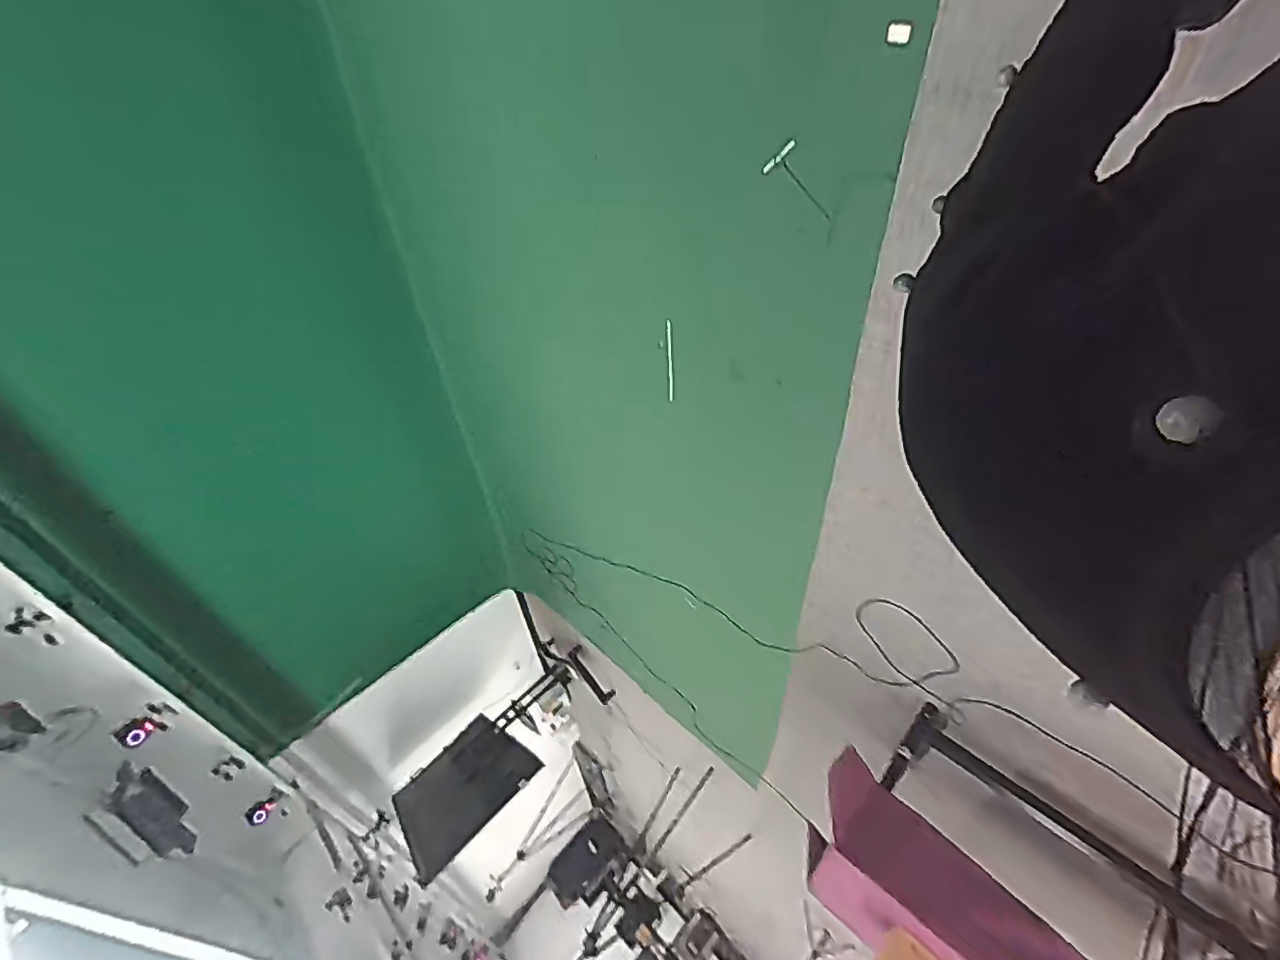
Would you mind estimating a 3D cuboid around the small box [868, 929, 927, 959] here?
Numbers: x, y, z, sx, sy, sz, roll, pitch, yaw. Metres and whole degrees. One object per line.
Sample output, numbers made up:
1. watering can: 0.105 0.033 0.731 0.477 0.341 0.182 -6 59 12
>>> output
1. small box: 0.845 1.619 1.765 0.168 0.176 0.179 32 143 31
